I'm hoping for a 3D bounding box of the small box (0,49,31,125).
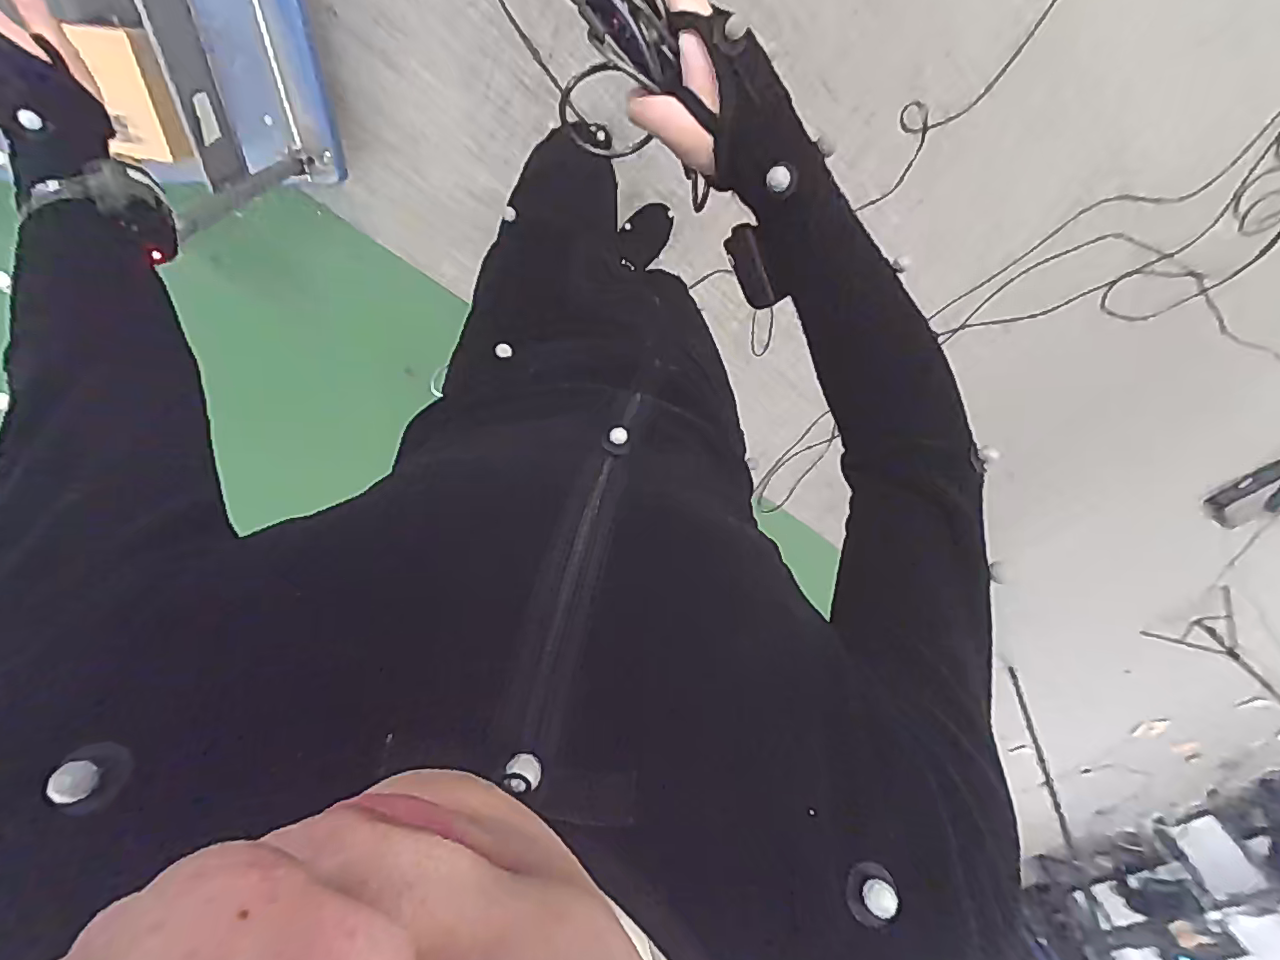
[{"bbox_3d":[-1.141,-0.655,0.848,0.179,0.176,0.168,-6,129,-5],"label":"small box"}]
